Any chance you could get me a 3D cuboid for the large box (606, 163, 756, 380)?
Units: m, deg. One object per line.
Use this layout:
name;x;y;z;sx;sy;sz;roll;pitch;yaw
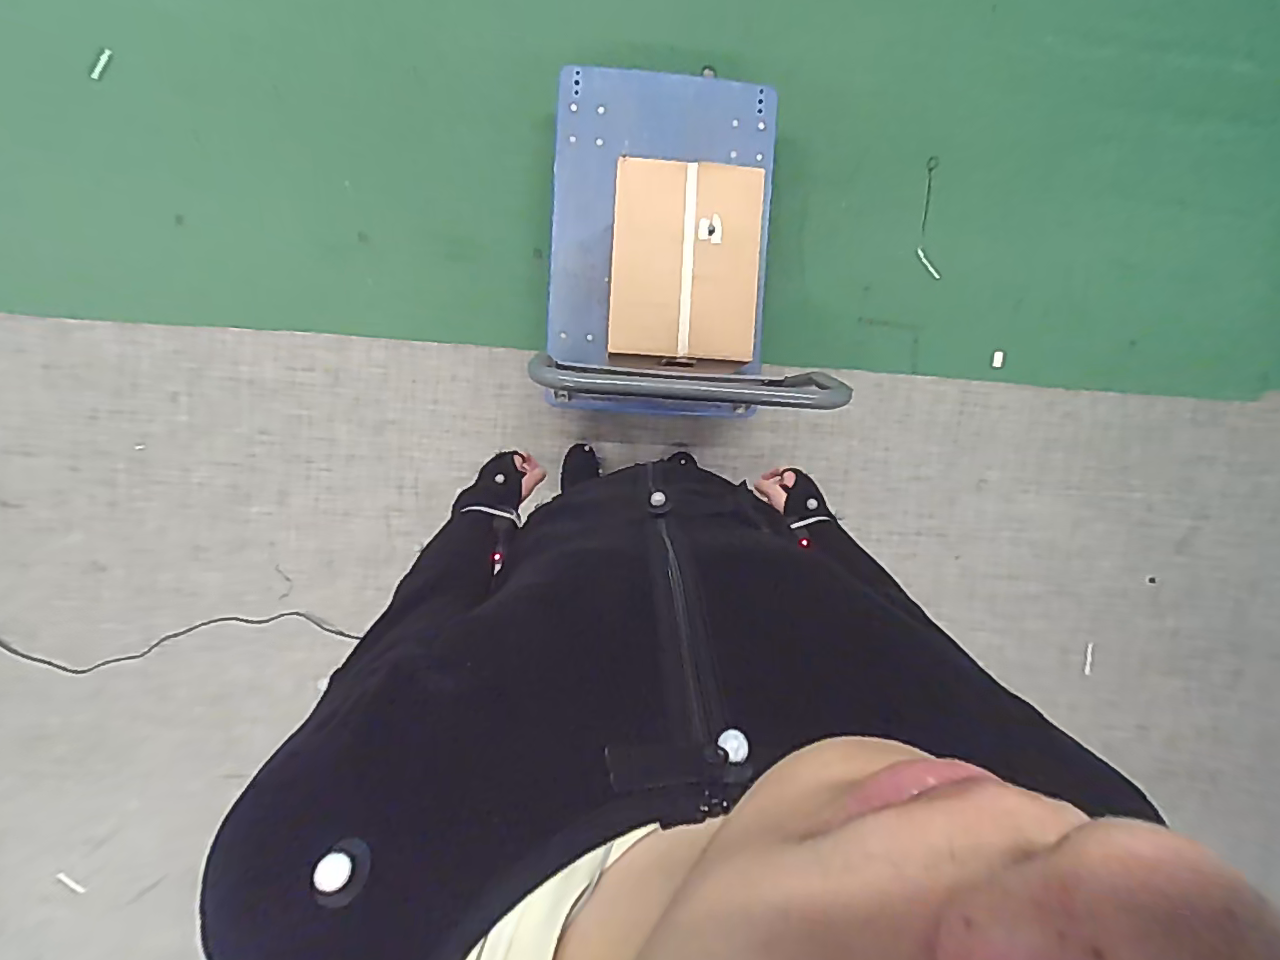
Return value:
large box;0.080;-0.463;1.288;0.320;0.320;0.408;2;92;-5
